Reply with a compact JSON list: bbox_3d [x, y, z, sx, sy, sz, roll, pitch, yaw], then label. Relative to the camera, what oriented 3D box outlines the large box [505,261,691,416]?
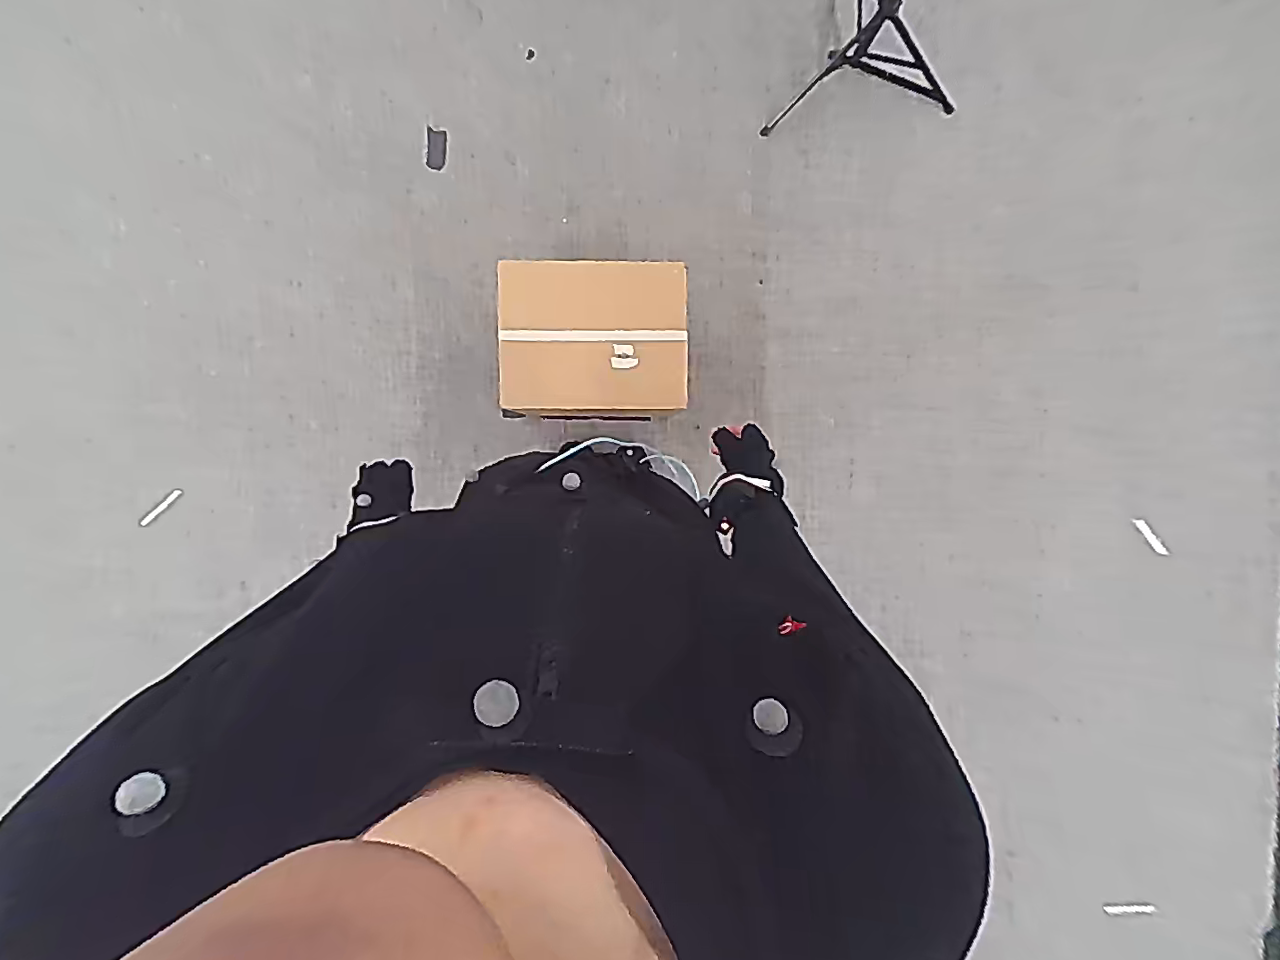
[{"bbox_3d":[-0.096,-0.321,1.313,0.408,0.320,0.320,0,94,-2],"label":"large box"}]
